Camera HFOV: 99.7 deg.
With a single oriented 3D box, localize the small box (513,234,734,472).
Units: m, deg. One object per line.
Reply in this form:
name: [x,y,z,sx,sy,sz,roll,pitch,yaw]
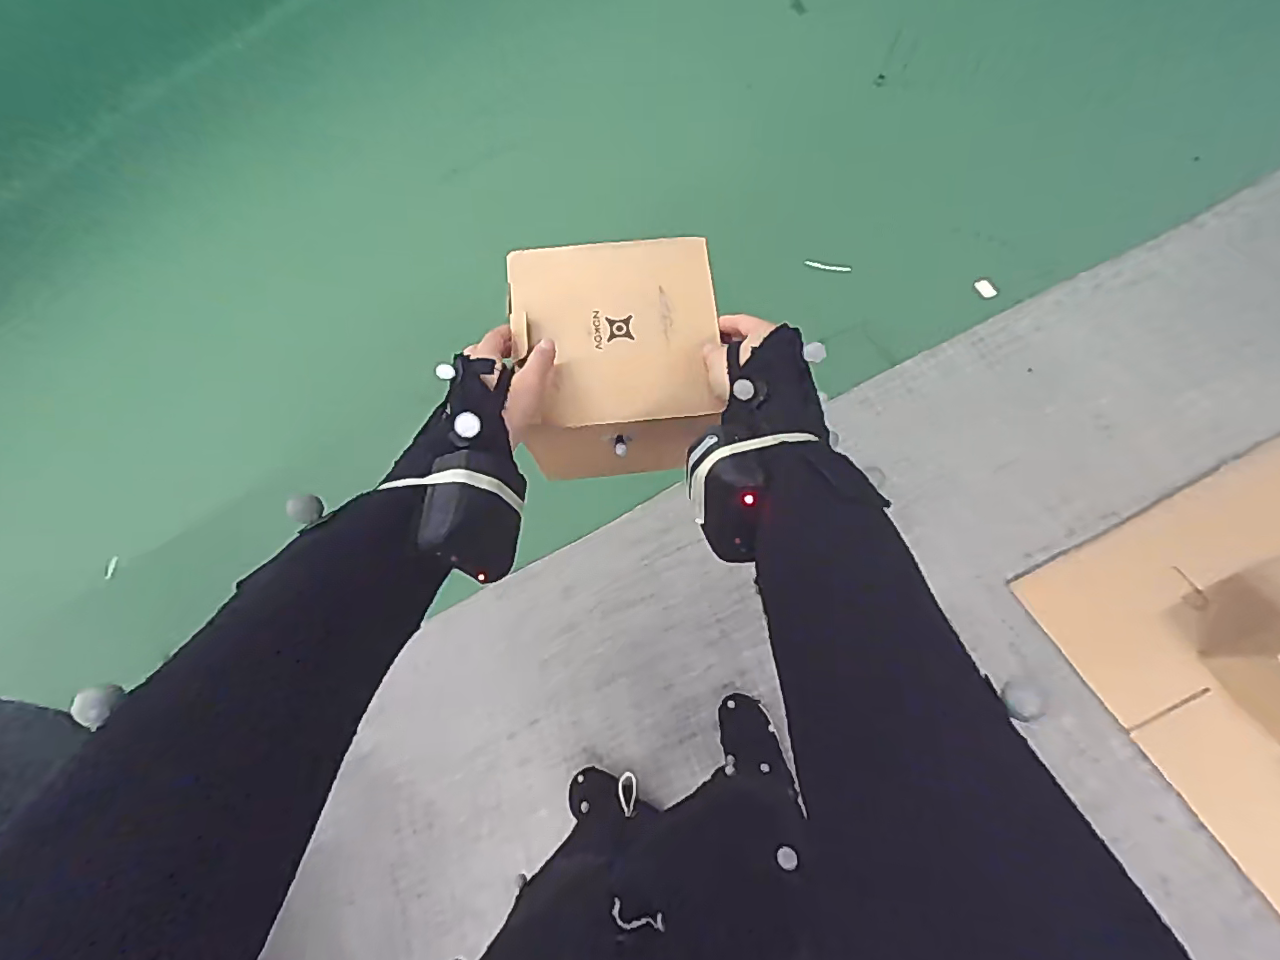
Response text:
small box: [-0.017,-0.110,0.526,0.179,0.176,0.168,-5,77,-3]
